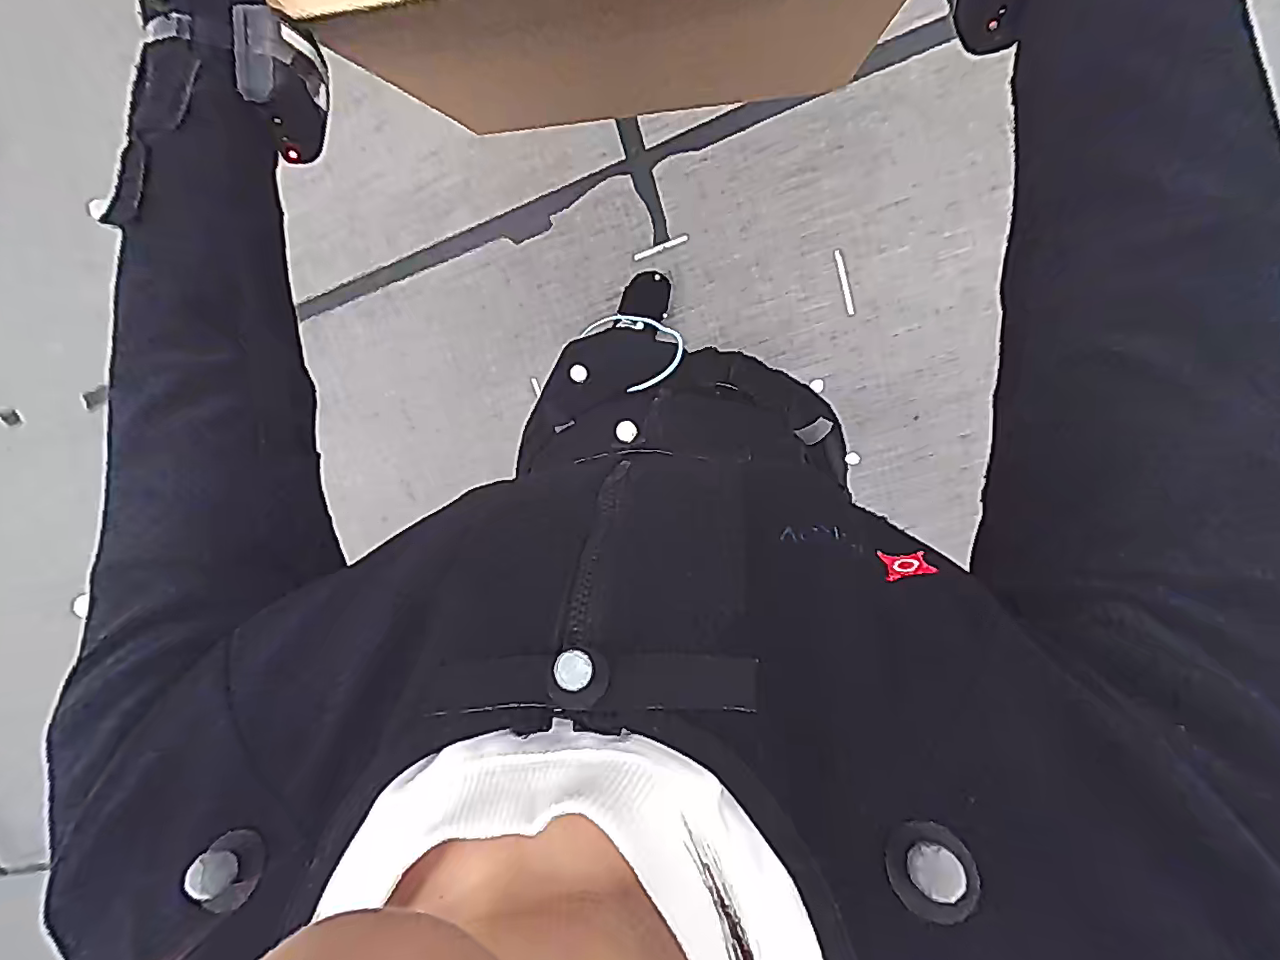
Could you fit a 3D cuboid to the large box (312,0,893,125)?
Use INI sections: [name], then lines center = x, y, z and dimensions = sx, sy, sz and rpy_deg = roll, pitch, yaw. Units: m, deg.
[large box]
center = -0.012, -0.500, 0.397
dimensions = 0.408, 0.320, 0.320
rpy_deg = -2, 111, 7
